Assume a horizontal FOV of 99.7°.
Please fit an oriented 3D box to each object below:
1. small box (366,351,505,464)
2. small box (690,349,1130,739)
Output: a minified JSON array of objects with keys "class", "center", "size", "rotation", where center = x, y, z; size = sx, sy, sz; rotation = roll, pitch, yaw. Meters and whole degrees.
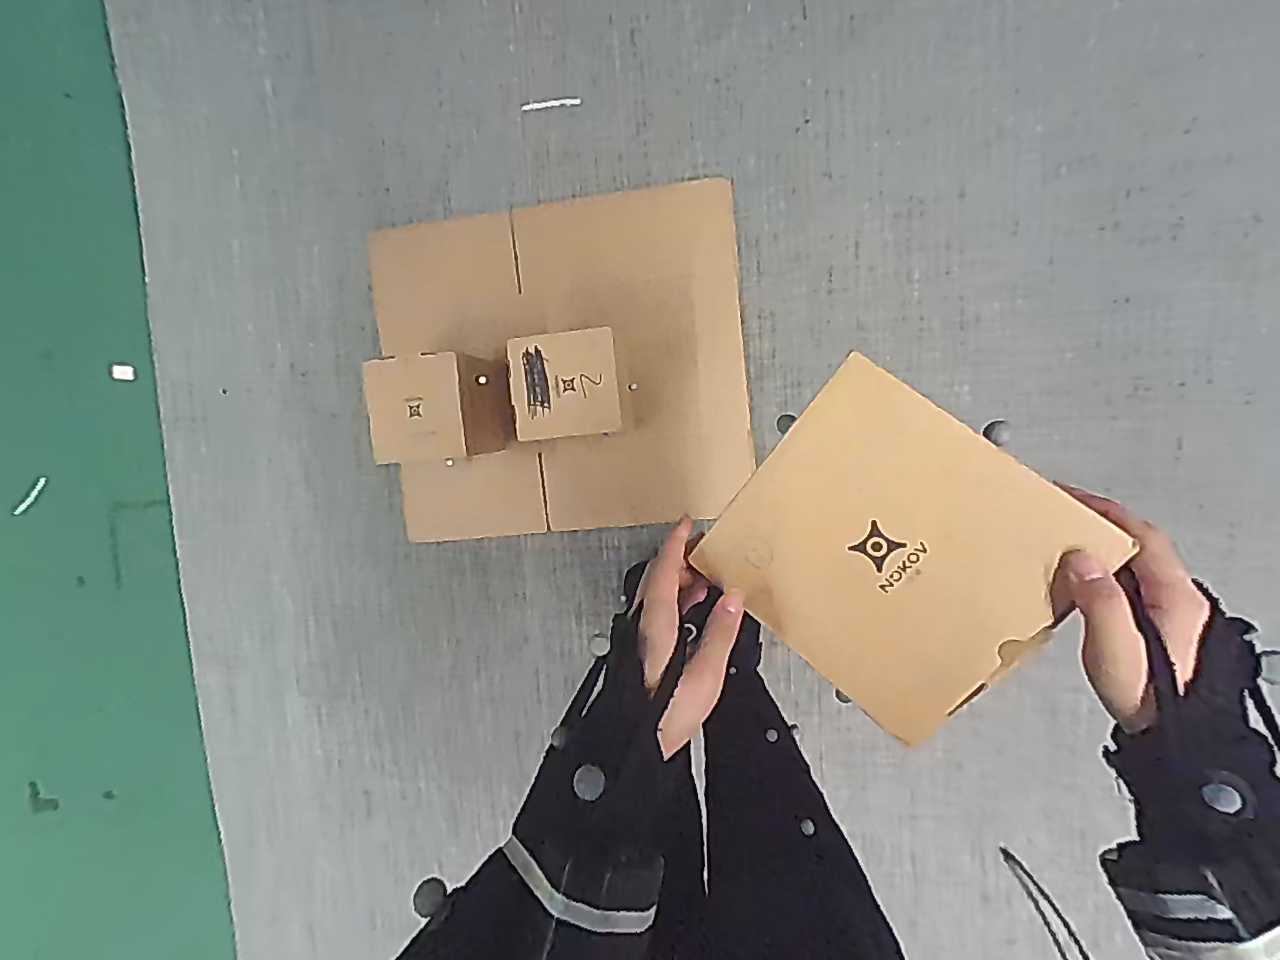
[{"class":"small box","center":[-0.355,-0.126,0.967],"size":[0.168,0.176,0.179],"rotation":[-4,96,8]},{"class":"small box","center":[0.168,0.033,0.390],"size":[0.179,0.176,0.168],"rotation":[39,107,13]}]
